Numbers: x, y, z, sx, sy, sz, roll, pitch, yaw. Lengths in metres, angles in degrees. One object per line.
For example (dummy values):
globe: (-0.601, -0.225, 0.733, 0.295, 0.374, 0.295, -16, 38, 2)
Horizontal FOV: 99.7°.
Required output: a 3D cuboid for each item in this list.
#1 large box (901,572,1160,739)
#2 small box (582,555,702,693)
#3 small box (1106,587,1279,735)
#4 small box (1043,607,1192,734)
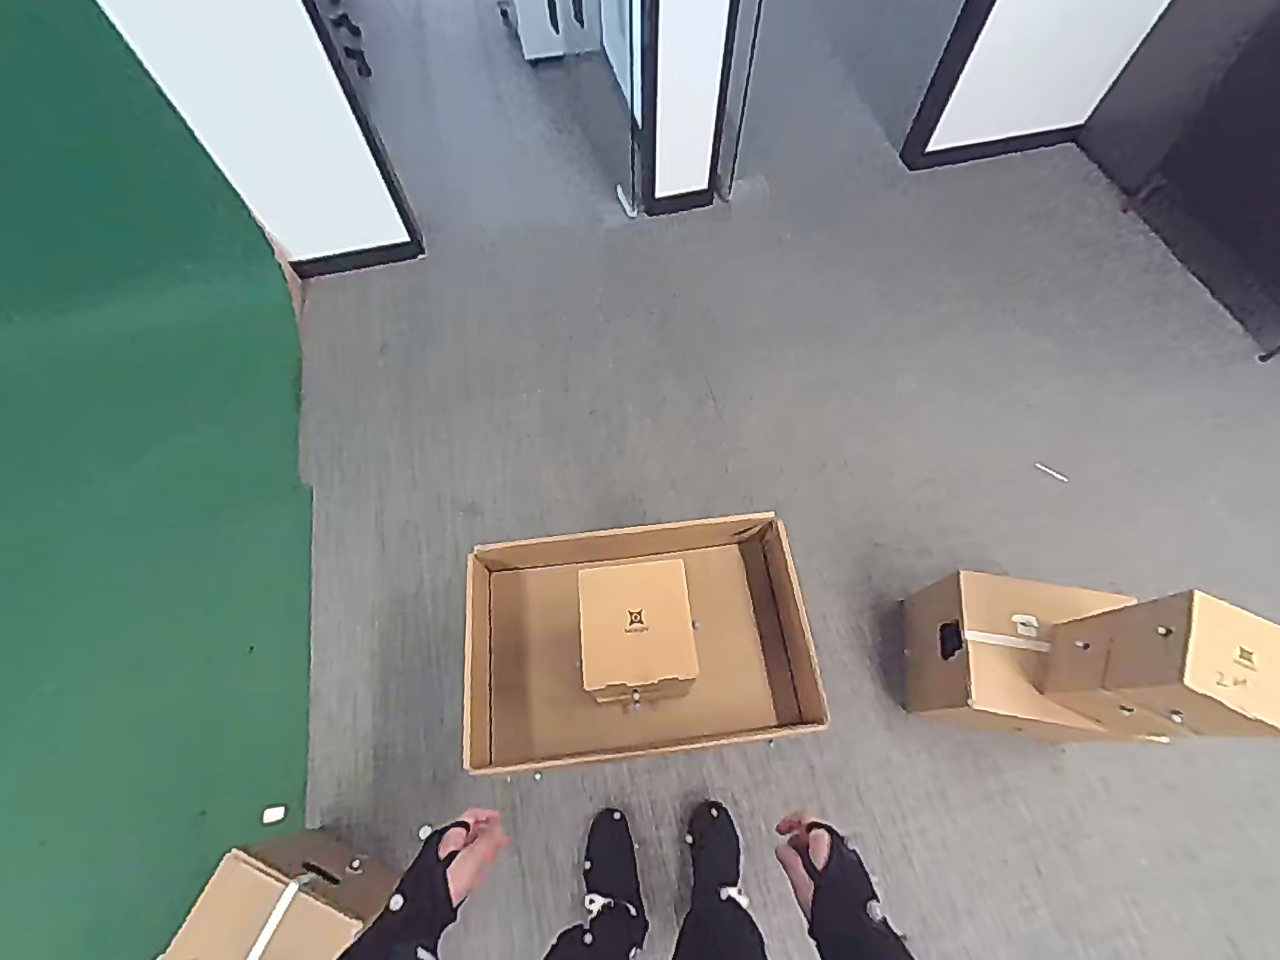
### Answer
large box: (0.915, 0.442, 1.335, 0.408, 0.320, 0.320, 8, 64, 5)
small box: (-0.001, 0.235, 0.862, 0.168, 0.176, 0.179, -6, 65, -2)
small box: (0.963, 0.316, 0.939, 0.168, 0.176, 0.179, 26, 69, 12)
small box: (0.960, 0.386, 1.089, 0.168, 0.176, 0.179, 27, 68, 12)
